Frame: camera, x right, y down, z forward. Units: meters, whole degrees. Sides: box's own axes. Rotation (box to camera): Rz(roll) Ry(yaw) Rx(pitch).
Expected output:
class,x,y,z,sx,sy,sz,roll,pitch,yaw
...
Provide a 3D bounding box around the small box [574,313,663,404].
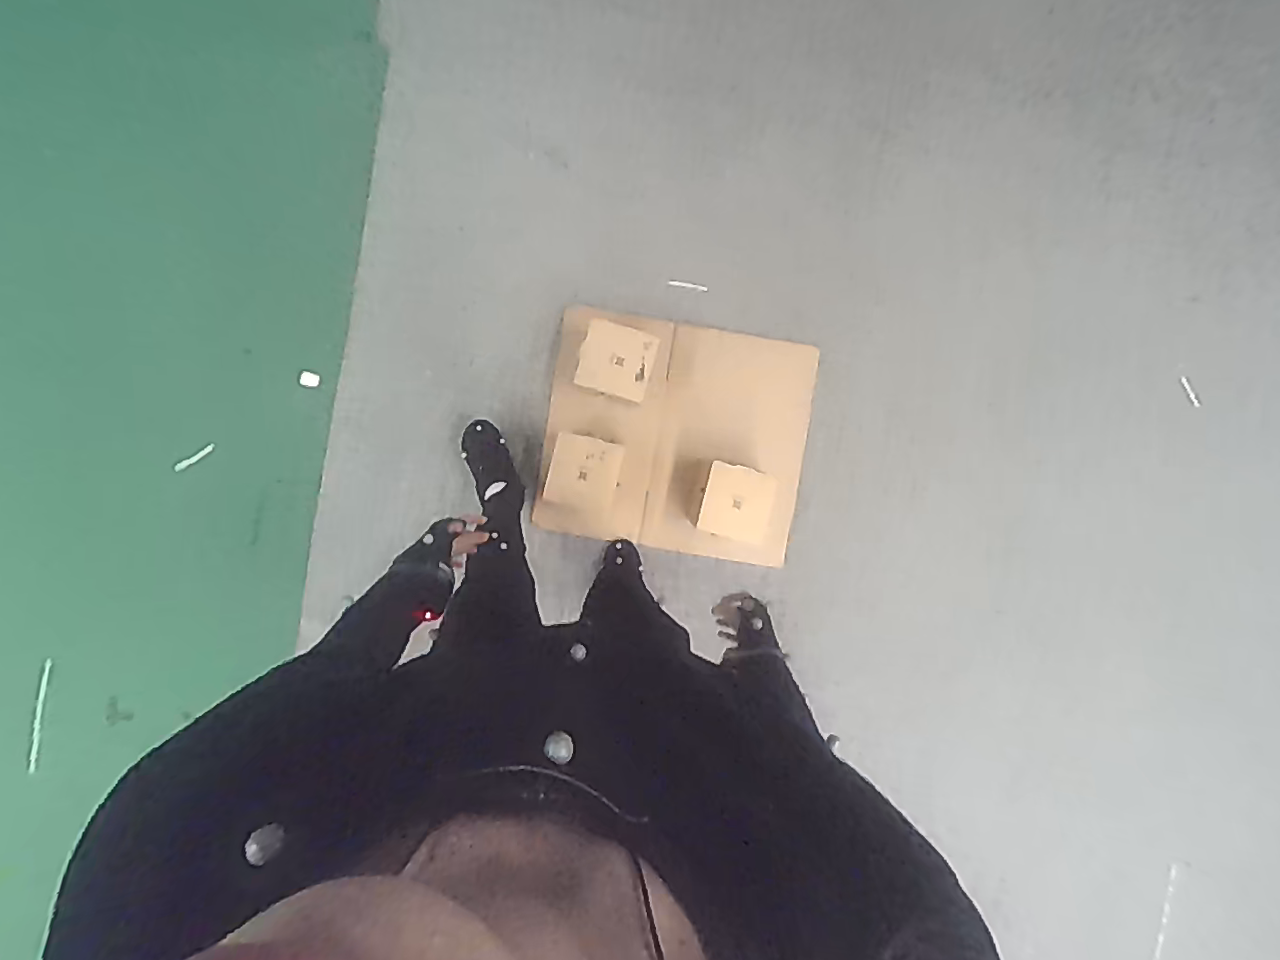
class,x,y,z,sx,sy,sz,roll,pitch,yaw
small box,-0.052,-0.296,1.355,0.179,0.176,0.168,16,92,-2

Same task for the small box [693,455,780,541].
class,x,y,z,sx,sy,sz,roll,pitch,yaw
small box,0.235,0.041,1.373,0.168,0.176,0.179,14,91,-2

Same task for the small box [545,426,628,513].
class,x,y,z,sx,sy,sz,roll,pitch,yaw
small box,-0.129,-0.029,1.363,0.168,0.176,0.179,15,92,-3
